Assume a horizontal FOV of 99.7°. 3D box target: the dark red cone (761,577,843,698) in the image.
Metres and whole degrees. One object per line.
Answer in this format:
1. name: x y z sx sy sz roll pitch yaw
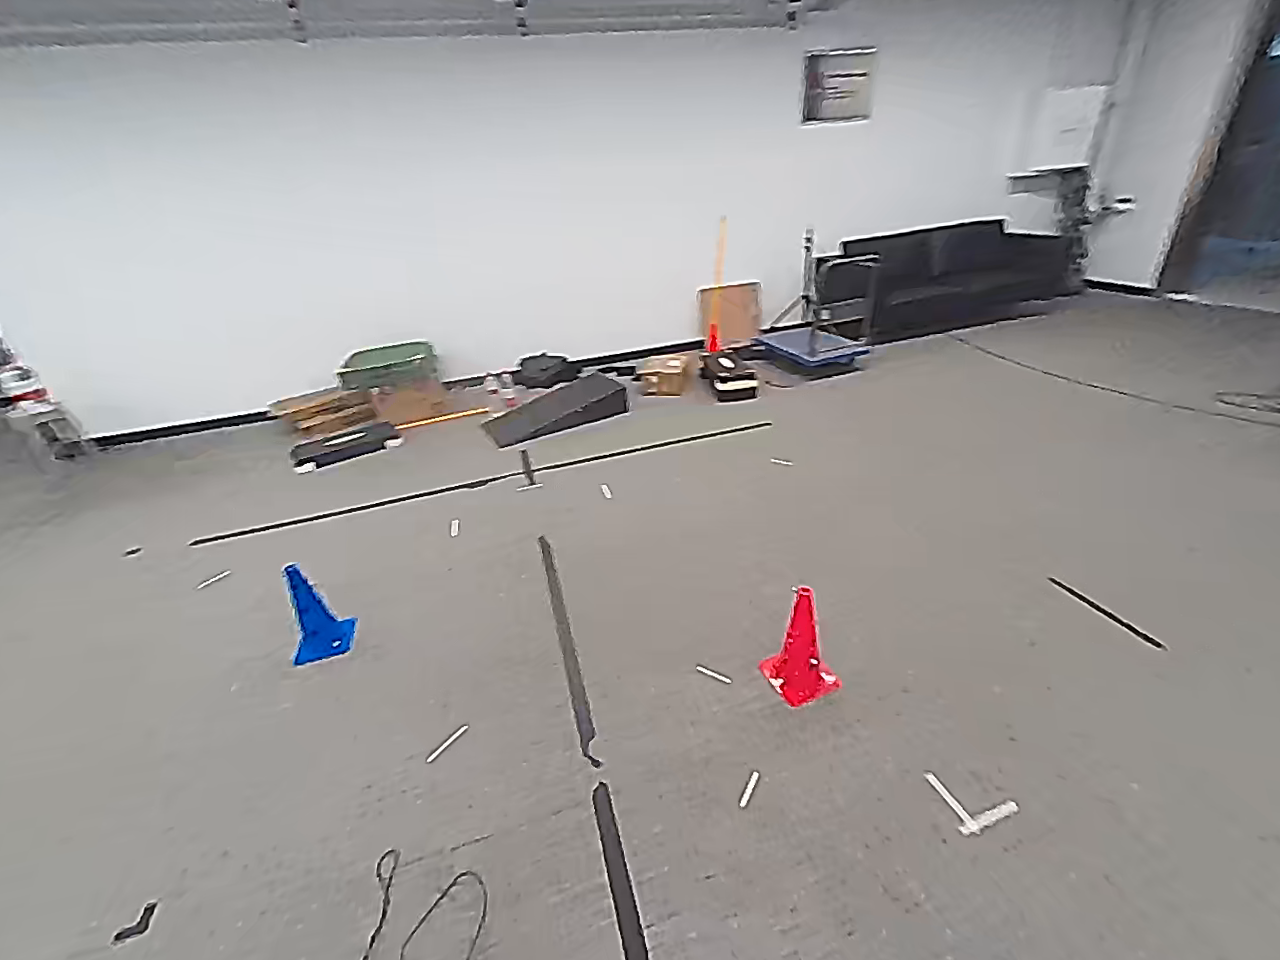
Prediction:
1. dark red cone: 0.503 0.459 1.664 0.201 0.394 0.202 -17 30 -18

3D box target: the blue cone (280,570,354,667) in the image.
1. blue cone: -1.225 0.486 1.998 0.192 0.380 0.193 -13 29 -11
